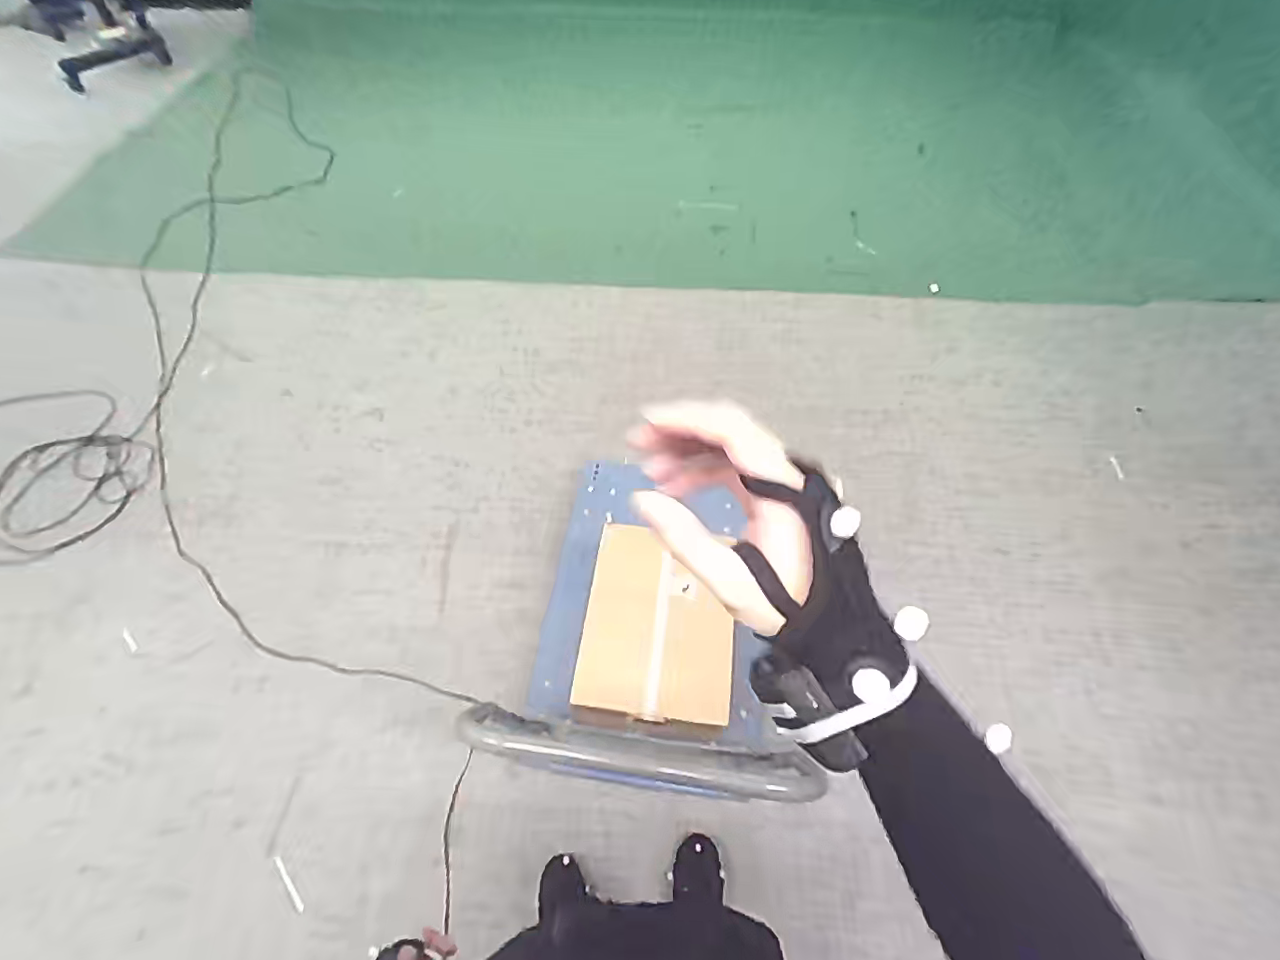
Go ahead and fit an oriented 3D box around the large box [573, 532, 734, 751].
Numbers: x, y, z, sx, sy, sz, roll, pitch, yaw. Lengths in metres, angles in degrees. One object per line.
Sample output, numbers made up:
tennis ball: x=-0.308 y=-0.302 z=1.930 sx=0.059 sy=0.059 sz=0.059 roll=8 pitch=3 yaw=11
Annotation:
large box: x=0.042 y=0.383 z=1.271 sx=0.320 sy=0.320 sz=0.408 roll=7 pitch=57 yaw=4
